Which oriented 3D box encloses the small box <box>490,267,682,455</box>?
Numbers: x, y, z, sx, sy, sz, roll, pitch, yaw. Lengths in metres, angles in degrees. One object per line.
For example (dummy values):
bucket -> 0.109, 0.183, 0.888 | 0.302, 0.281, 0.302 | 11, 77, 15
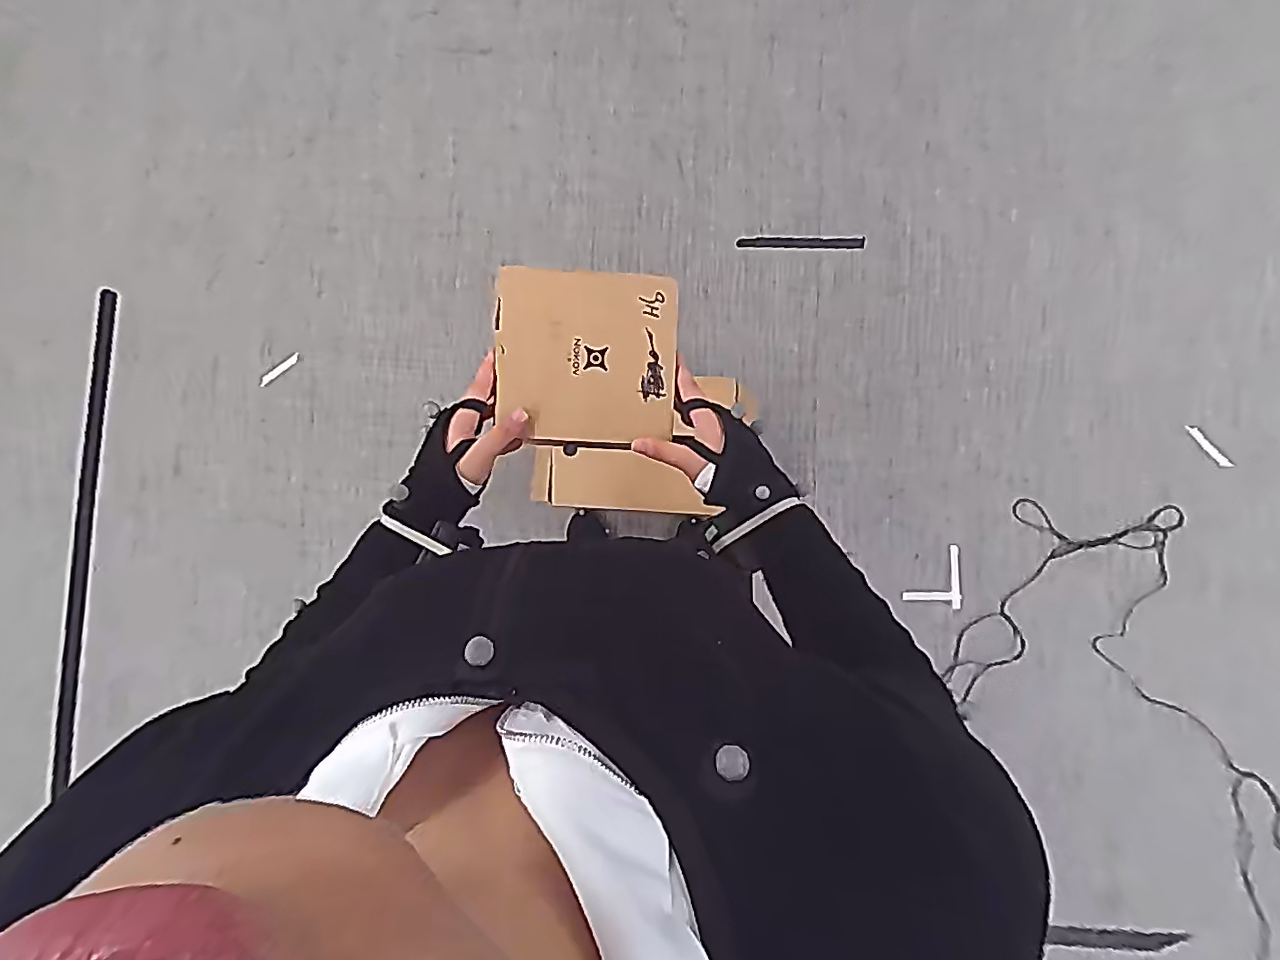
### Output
small box -> -0.055, -0.116, 0.593 | 0.179, 0.176, 0.168 | 3, 90, -4
